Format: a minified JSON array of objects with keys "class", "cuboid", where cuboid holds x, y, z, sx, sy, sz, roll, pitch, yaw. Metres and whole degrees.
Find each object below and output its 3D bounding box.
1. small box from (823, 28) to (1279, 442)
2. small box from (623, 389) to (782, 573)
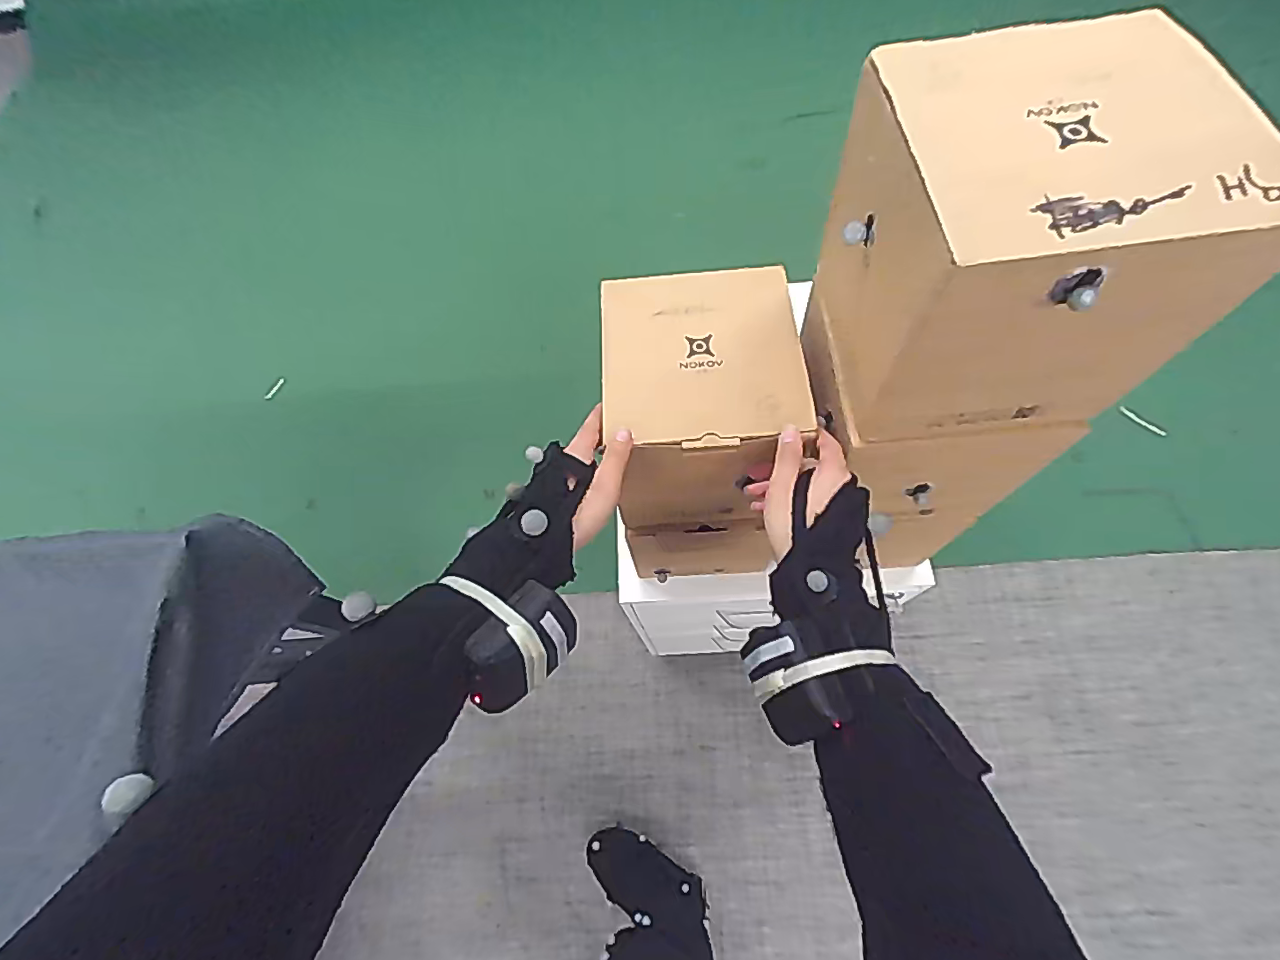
[{"class":"small box","cuboid":[0.230,-0.145,0.353,0.168,0.176,0.179,-5,64,4]},{"class":"small box","cuboid":[0.069,0.011,0.659,0.168,0.176,0.179,-3,64,3]}]
